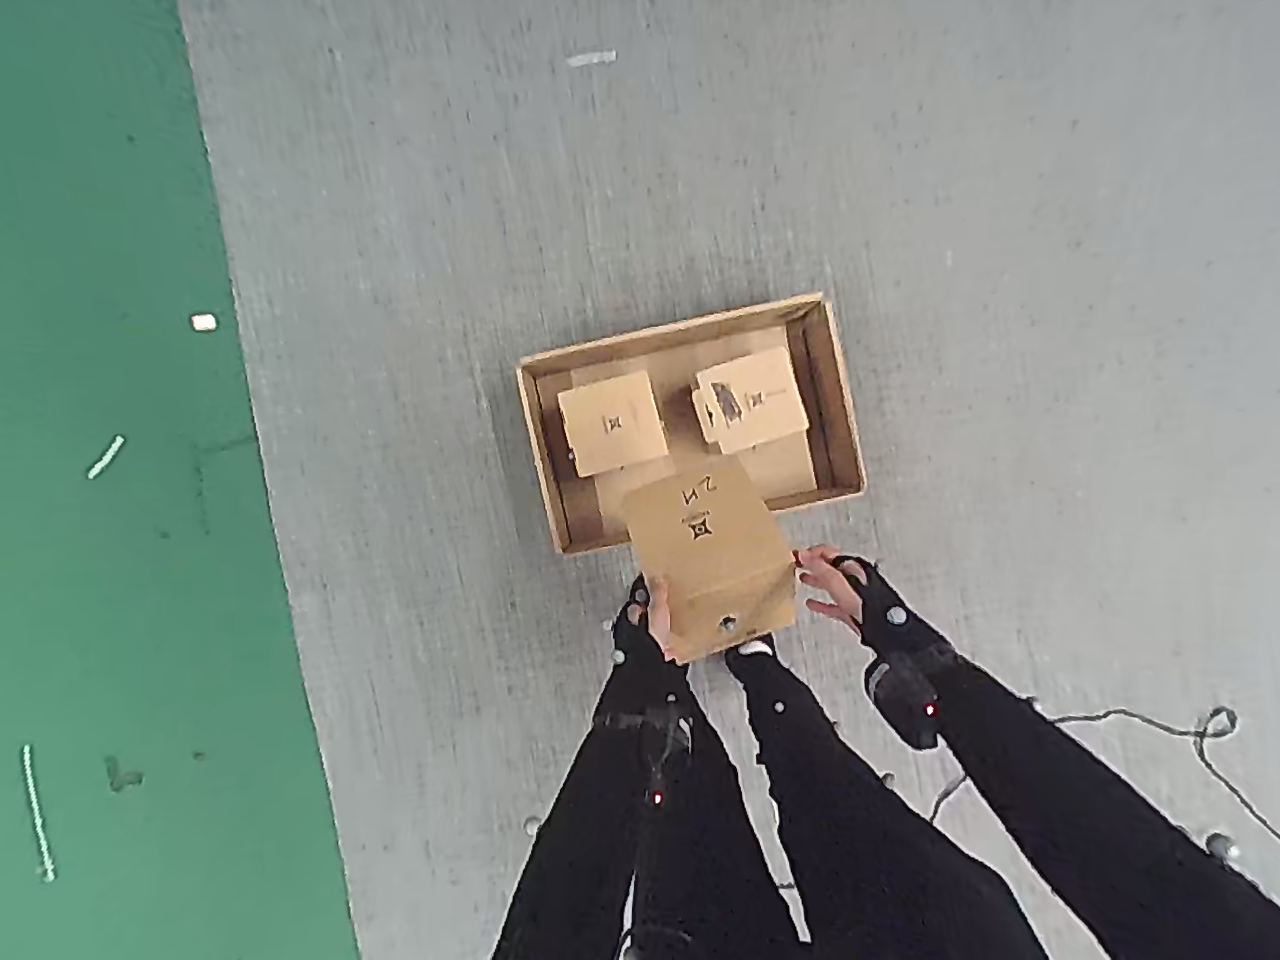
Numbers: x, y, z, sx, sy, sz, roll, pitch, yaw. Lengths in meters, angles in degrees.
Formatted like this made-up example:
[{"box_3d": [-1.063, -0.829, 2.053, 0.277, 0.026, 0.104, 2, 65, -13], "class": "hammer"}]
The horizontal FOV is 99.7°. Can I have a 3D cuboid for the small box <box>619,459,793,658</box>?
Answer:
[{"box_3d": [0.089, 0.110, 0.700, 0.168, 0.176, 0.179, -20, 49, -1], "class": "small box"}]

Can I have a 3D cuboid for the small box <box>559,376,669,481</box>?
[{"box_3d": [-0.049, -0.098, 1.094, 0.179, 0.176, 0.168, -16, 93, -1], "class": "small box"}]

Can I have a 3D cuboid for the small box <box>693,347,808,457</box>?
[{"box_3d": [0.212, -0.147, 1.092, 0.179, 0.176, 0.168, -19, 92, 1], "class": "small box"}]
